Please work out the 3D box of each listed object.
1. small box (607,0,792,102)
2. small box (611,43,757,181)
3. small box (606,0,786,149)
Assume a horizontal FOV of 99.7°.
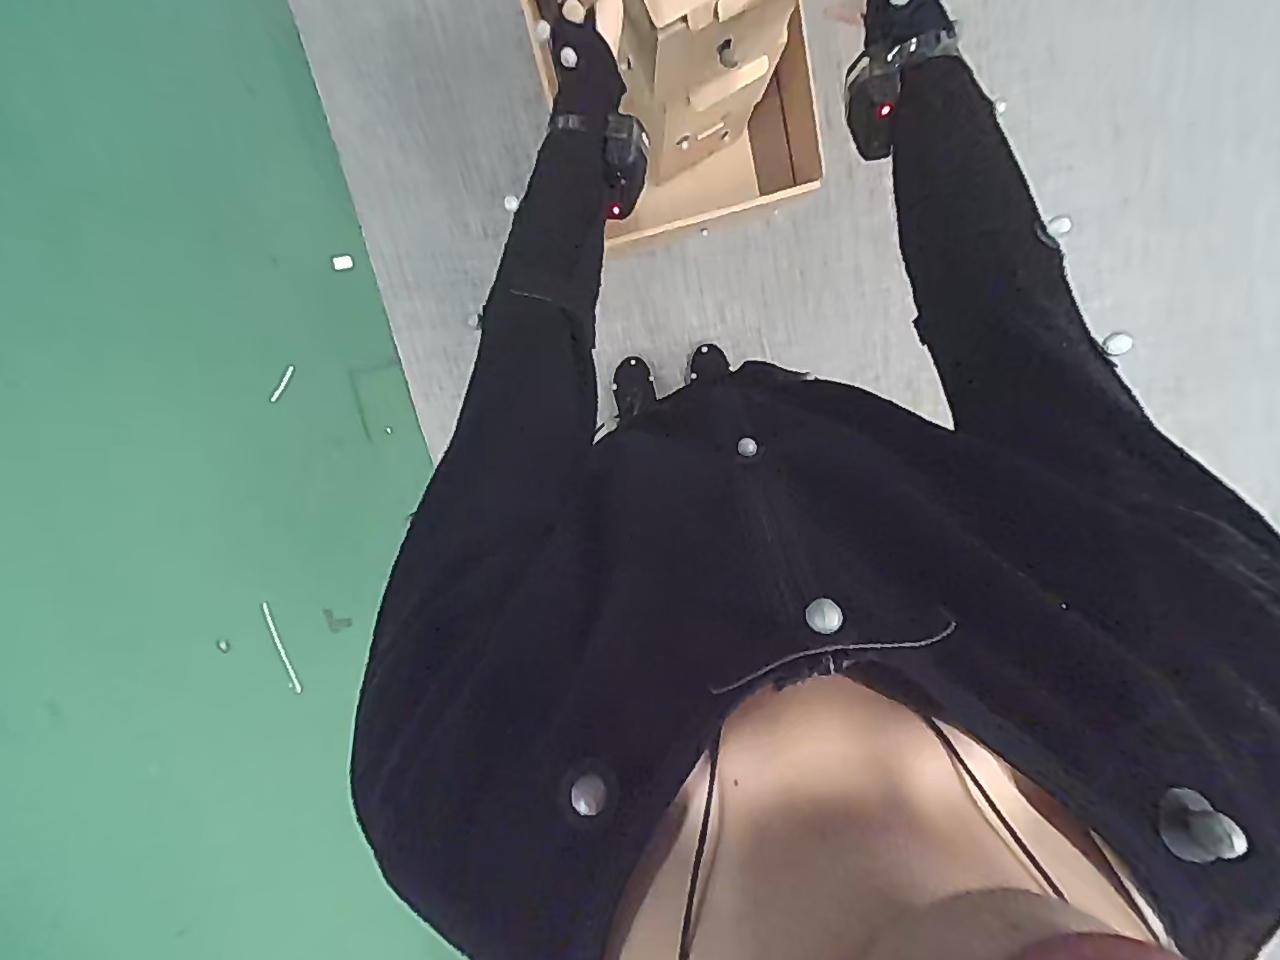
[{"bbox_3d":[0.054,-0.533,0.557,0.168,0.176,0.179,-25,102,6],"label":"small box"},{"bbox_3d":[0.070,-0.615,0.874,0.168,0.176,0.179,-26,101,7],"label":"small box"},{"bbox_3d":[0.068,-0.575,0.715,0.168,0.176,0.179,-27,100,7],"label":"small box"}]
